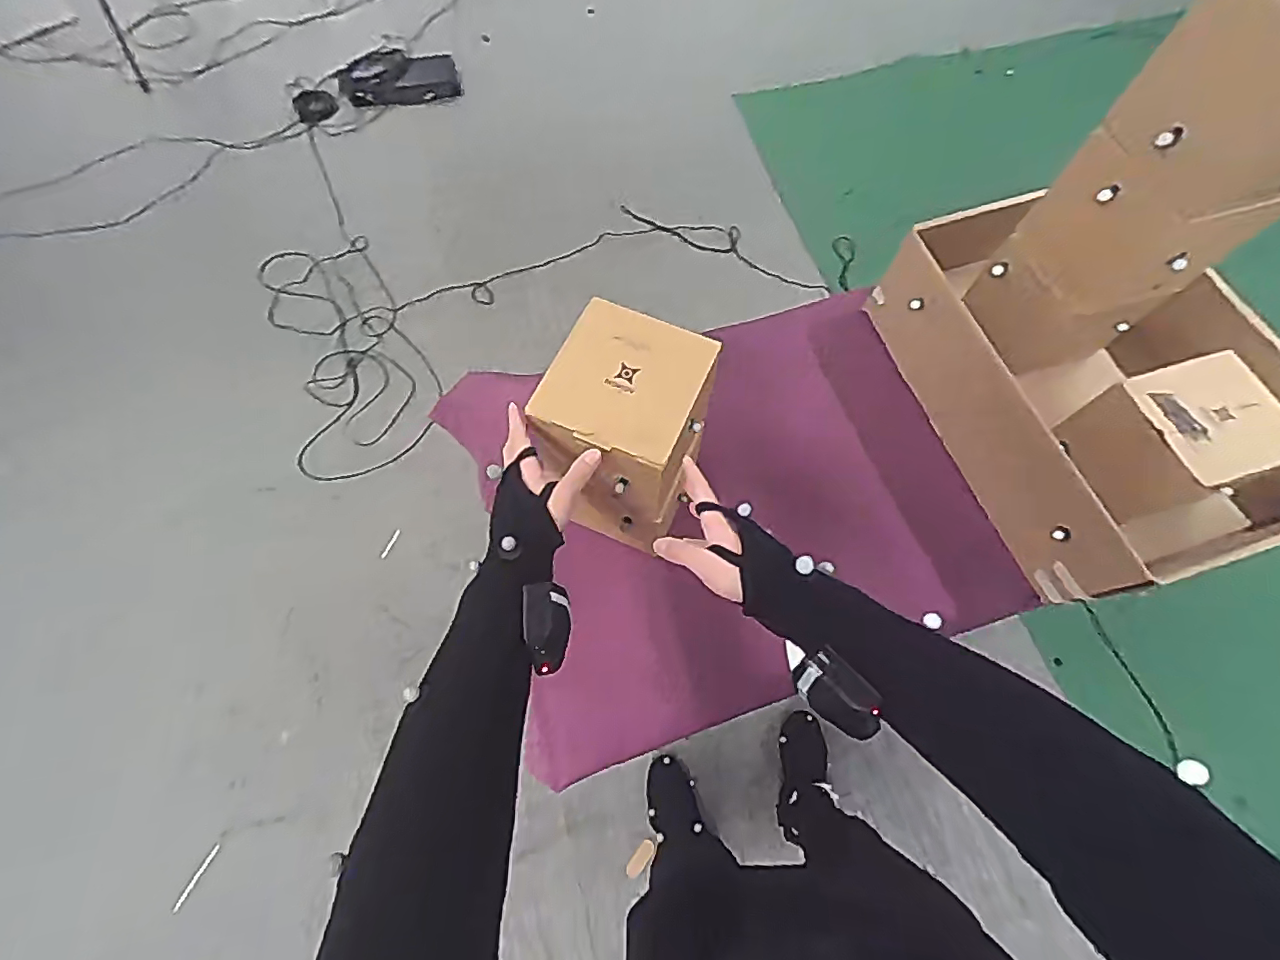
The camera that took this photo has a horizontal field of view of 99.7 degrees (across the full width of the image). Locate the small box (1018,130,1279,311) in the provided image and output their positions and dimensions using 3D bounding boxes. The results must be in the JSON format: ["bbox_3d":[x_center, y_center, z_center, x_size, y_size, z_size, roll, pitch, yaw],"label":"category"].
[{"bbox_3d":[0.672,-0.351,0.731,0.168,0.176,0.179,-15,68,-5],"label":"small box"}]

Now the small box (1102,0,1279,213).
[{"bbox_3d":[0.671,-0.415,0.579,0.168,0.176,0.179,-15,69,-6],"label":"small box"}]

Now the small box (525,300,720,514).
[{"bbox_3d":[-0.017,-0.080,0.670,0.168,0.176,0.179,23,68,8],"label":"small box"}]

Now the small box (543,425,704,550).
[{"bbox_3d":[-0.022,-0.010,0.817,0.179,0.176,0.168,22,68,9],"label":"small box"}]
